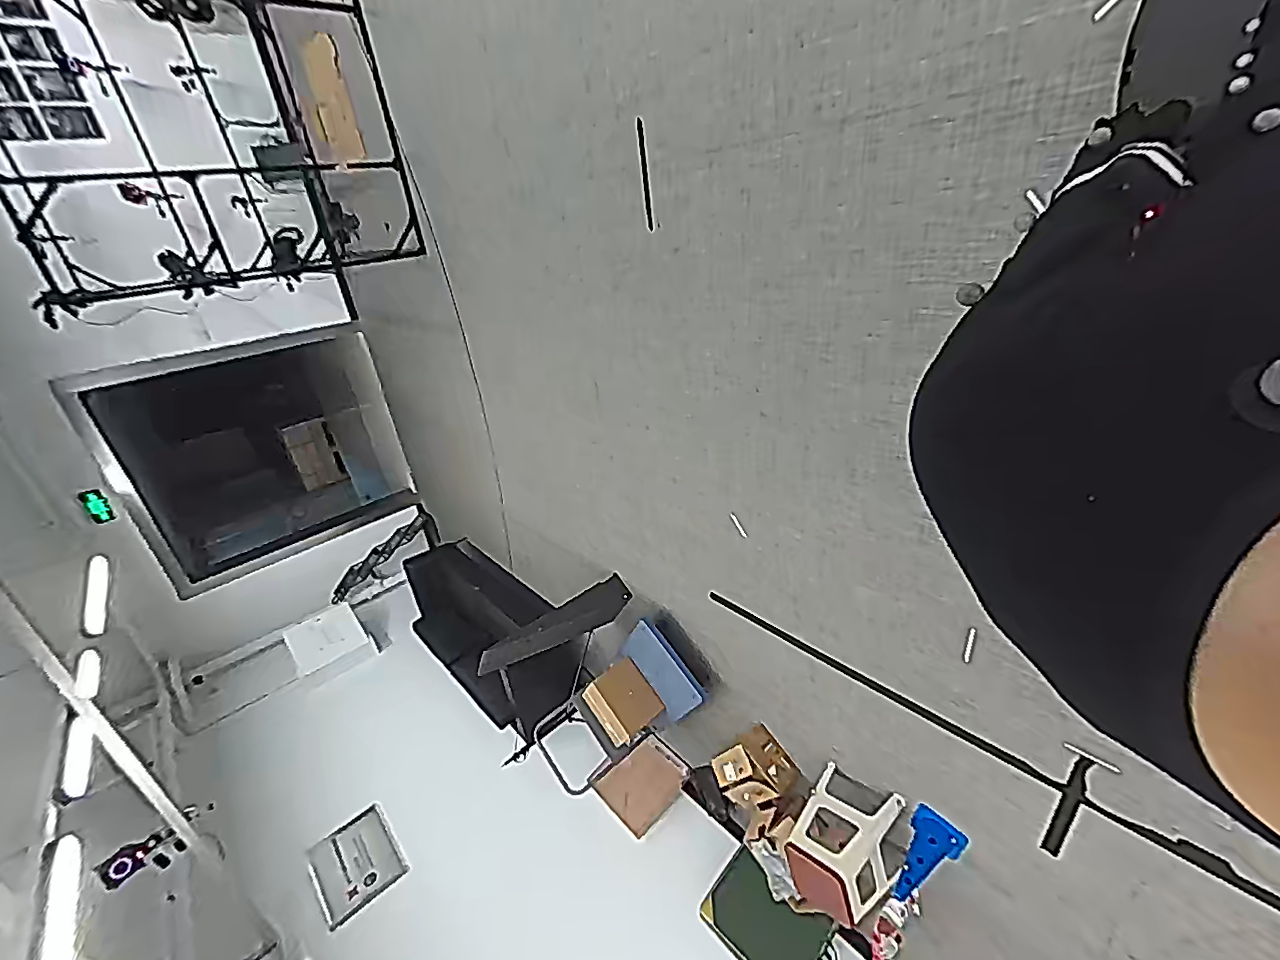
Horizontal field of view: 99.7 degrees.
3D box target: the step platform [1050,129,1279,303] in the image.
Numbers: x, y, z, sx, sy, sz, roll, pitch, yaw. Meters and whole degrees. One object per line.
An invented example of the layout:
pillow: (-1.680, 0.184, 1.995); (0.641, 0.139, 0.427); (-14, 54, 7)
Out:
step platform: (1.164, -0.474, 0.964); (0.684, 0.204, 0.286); (21, 128, 46)
